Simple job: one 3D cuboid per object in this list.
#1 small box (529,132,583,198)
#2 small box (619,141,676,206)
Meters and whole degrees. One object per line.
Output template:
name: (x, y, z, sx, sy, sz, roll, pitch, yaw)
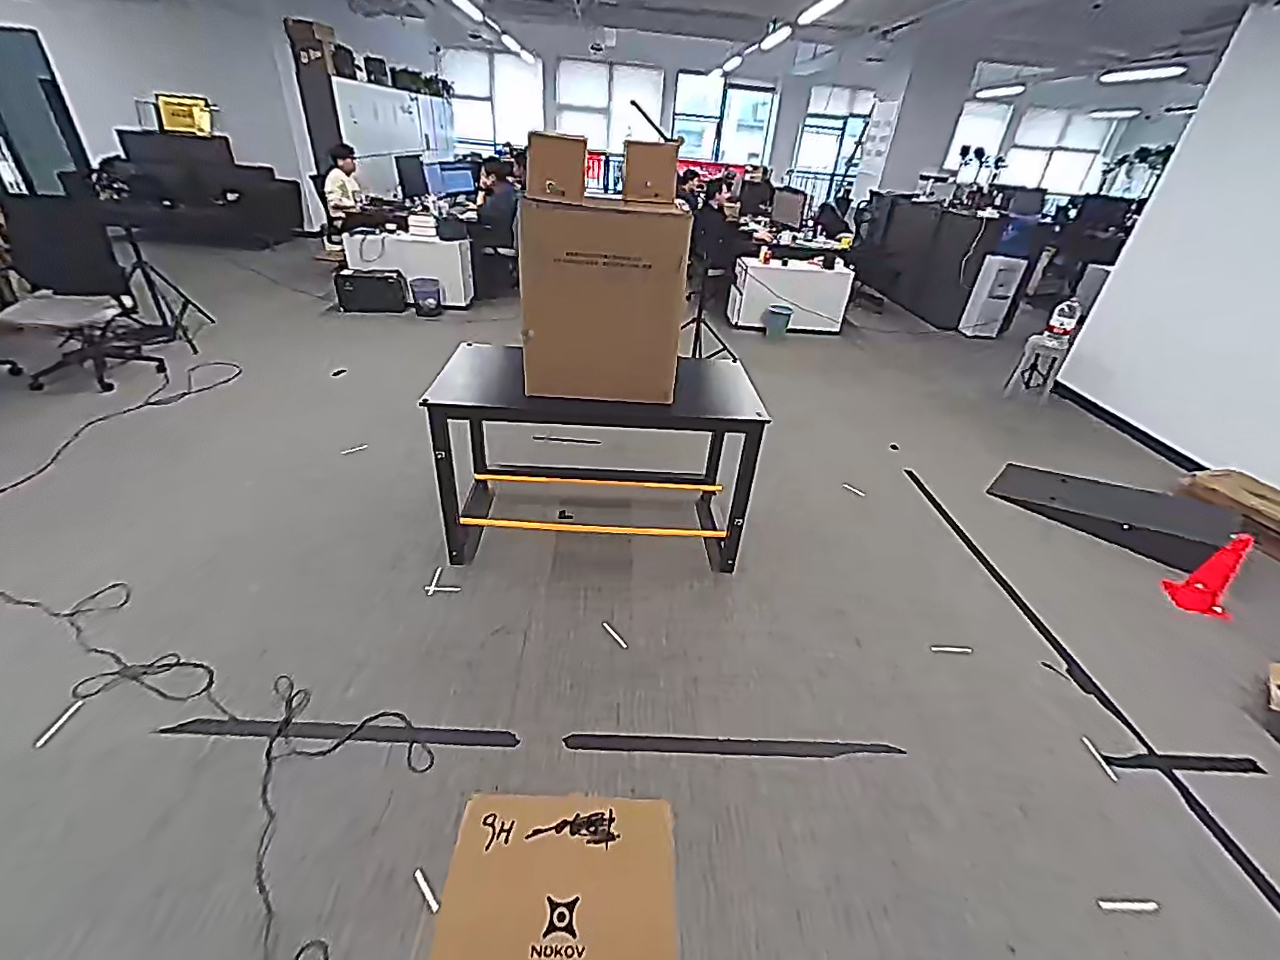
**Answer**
small box: (-0.274, -1.031, 1.773, 0.168, 0.176, 0.179, 2, 31, -6)
small box: (0.019, -1.001, 1.766, 0.168, 0.176, 0.179, 0, 32, -5)
